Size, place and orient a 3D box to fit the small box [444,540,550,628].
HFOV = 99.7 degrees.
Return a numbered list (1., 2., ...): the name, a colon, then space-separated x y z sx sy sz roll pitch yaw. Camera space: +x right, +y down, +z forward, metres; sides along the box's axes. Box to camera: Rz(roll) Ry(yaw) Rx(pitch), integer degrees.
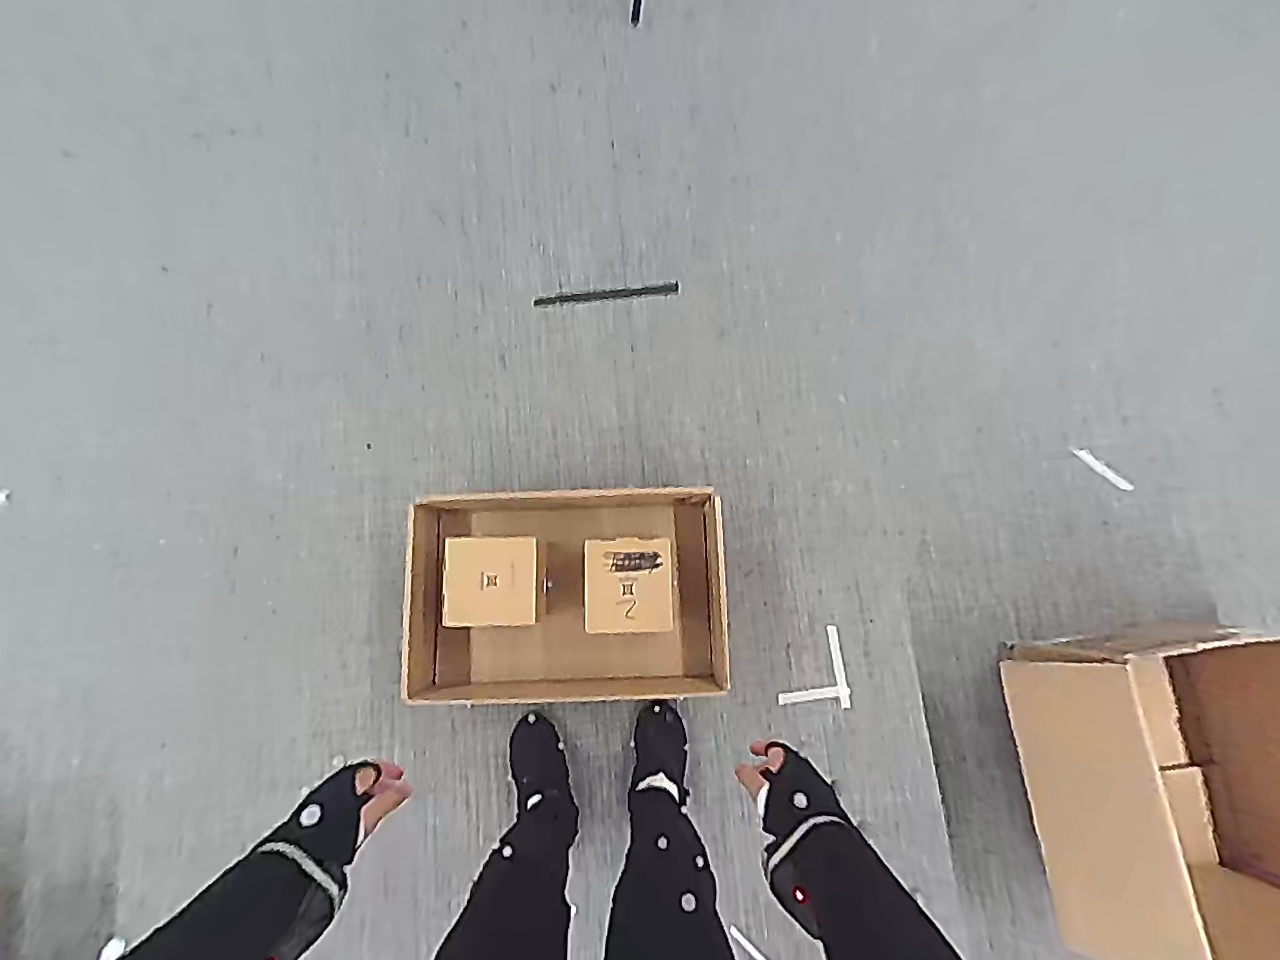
1. small box: -0.286 0.211 1.109 0.179 0.176 0.168 -1 82 -2
